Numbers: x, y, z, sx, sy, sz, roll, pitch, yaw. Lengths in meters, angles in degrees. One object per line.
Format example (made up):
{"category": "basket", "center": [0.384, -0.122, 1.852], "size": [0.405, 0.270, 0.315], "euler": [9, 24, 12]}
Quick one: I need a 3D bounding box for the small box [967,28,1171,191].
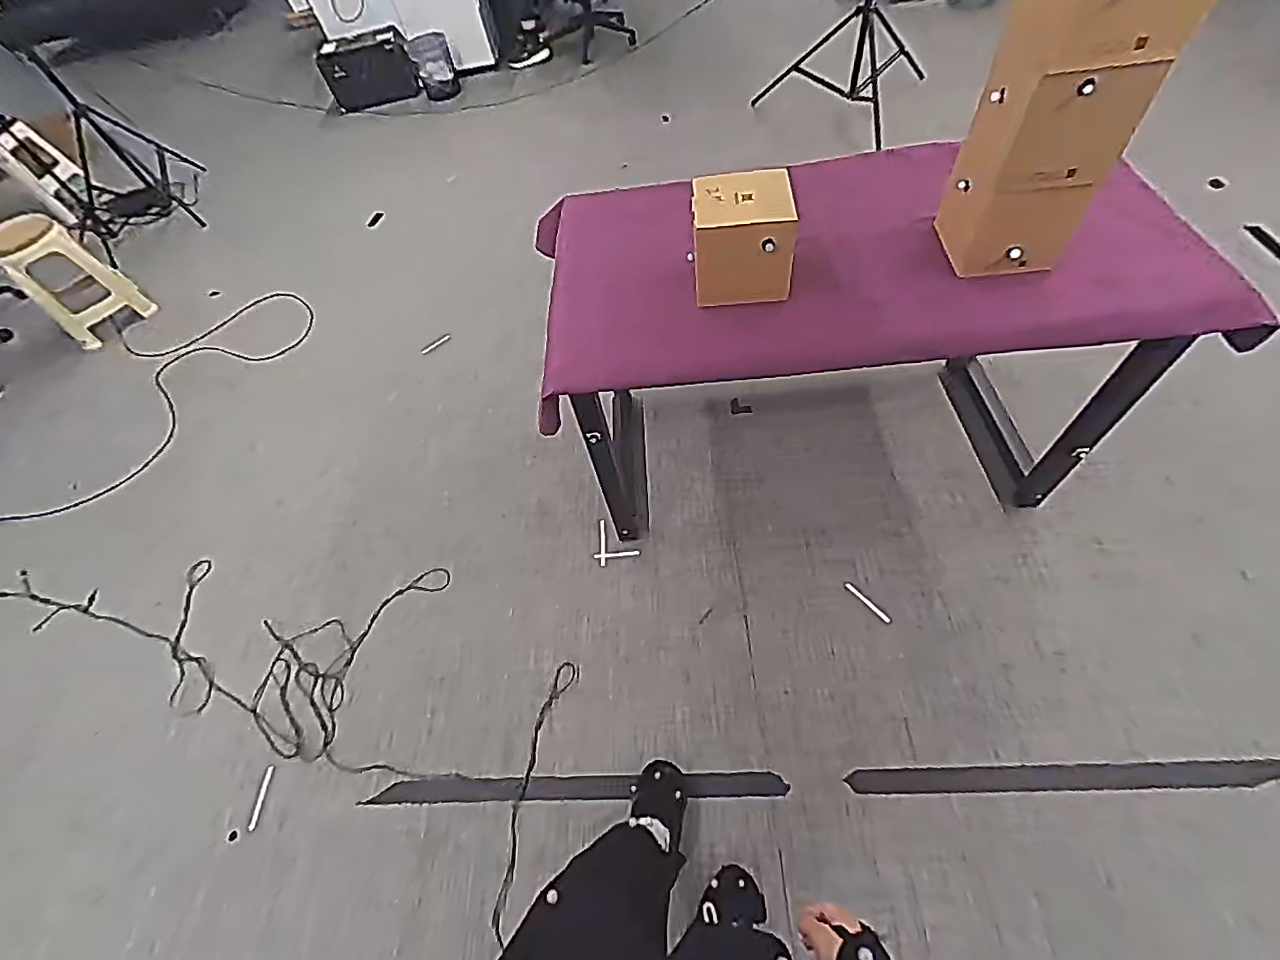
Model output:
{"category": "small box", "center": [0.641, -0.580, 0.841], "size": [0.168, 0.176, 0.179], "euler": [-2, 56, 9]}

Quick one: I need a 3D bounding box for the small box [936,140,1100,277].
{"category": "small box", "center": [0.663, -0.496, 0.979], "size": [0.168, 0.176, 0.179], "euler": [-4, 57, 7]}

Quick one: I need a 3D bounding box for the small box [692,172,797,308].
{"category": "small box", "center": [0.190, -0.449, 1.024], "size": [0.179, 0.176, 0.168], "euler": [-3, 56, 8]}

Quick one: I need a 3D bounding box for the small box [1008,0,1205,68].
{"category": "small box", "center": [0.620, -0.663, 0.701], "size": [0.168, 0.176, 0.179], "euler": [-2, 57, 9]}
